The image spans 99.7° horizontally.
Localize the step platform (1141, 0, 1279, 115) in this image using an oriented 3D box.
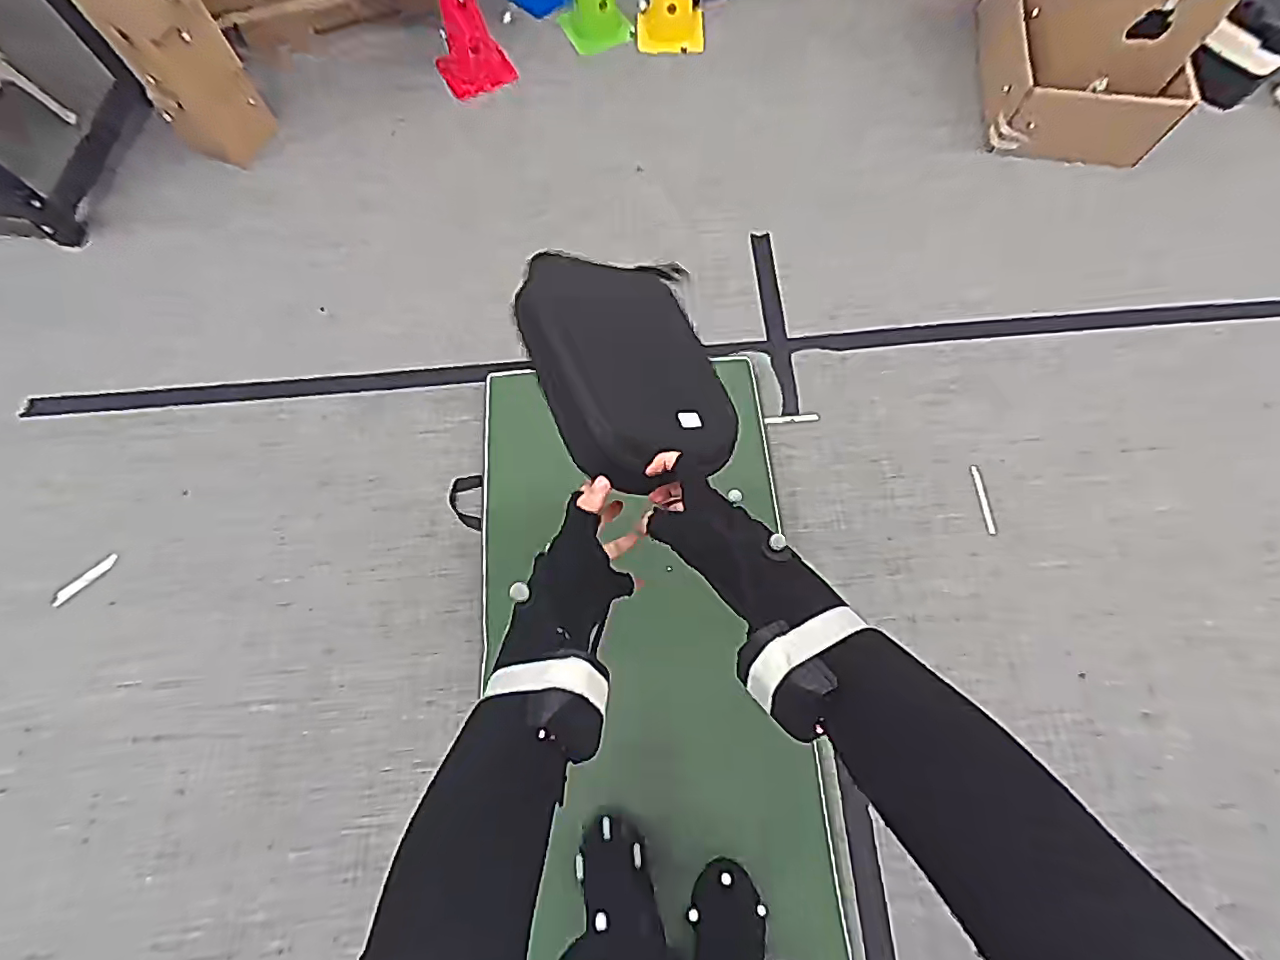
[{"bbox_3d":[1.830,-1.333,1.549,0.684,0.204,0.286,-32,74,-10],"label":"step platform"}]
